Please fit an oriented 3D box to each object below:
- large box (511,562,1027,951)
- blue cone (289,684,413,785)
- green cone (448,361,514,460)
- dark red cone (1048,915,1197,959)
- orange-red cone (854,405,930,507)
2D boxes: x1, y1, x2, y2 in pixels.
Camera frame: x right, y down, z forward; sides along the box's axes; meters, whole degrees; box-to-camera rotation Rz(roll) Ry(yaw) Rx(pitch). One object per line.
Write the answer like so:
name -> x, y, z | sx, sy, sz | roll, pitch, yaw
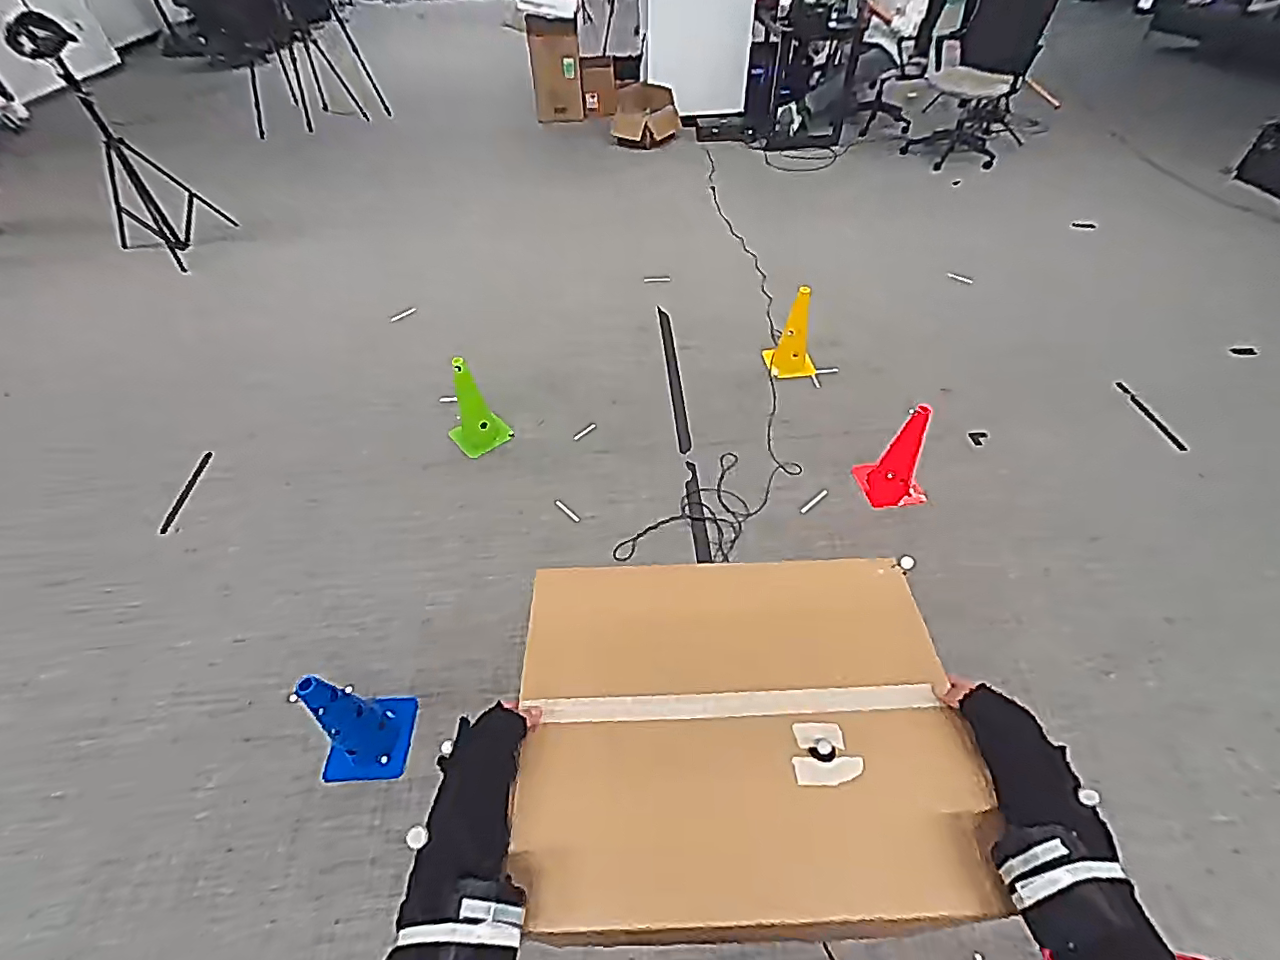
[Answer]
large box -> 0.093, 0.314, 0.615 | 0.408, 0.320, 0.320 | -2, 48, -1
blue cone -> -0.699, 0.567, 1.271 | 0.192, 0.380, 0.193 | -3, 48, 1
green cone -> -0.634, -0.288, 2.009 | 0.202, 0.368, 0.200 | -36, 56, -24
dark red cone -> 0.907, 0.853, 0.909 | 0.201, 0.394, 0.202 | -1, 48, 3
orange-red cone -> 0.877, -0.100, 1.794 | 0.198, 0.360, 0.199 | -6, 47, -4
